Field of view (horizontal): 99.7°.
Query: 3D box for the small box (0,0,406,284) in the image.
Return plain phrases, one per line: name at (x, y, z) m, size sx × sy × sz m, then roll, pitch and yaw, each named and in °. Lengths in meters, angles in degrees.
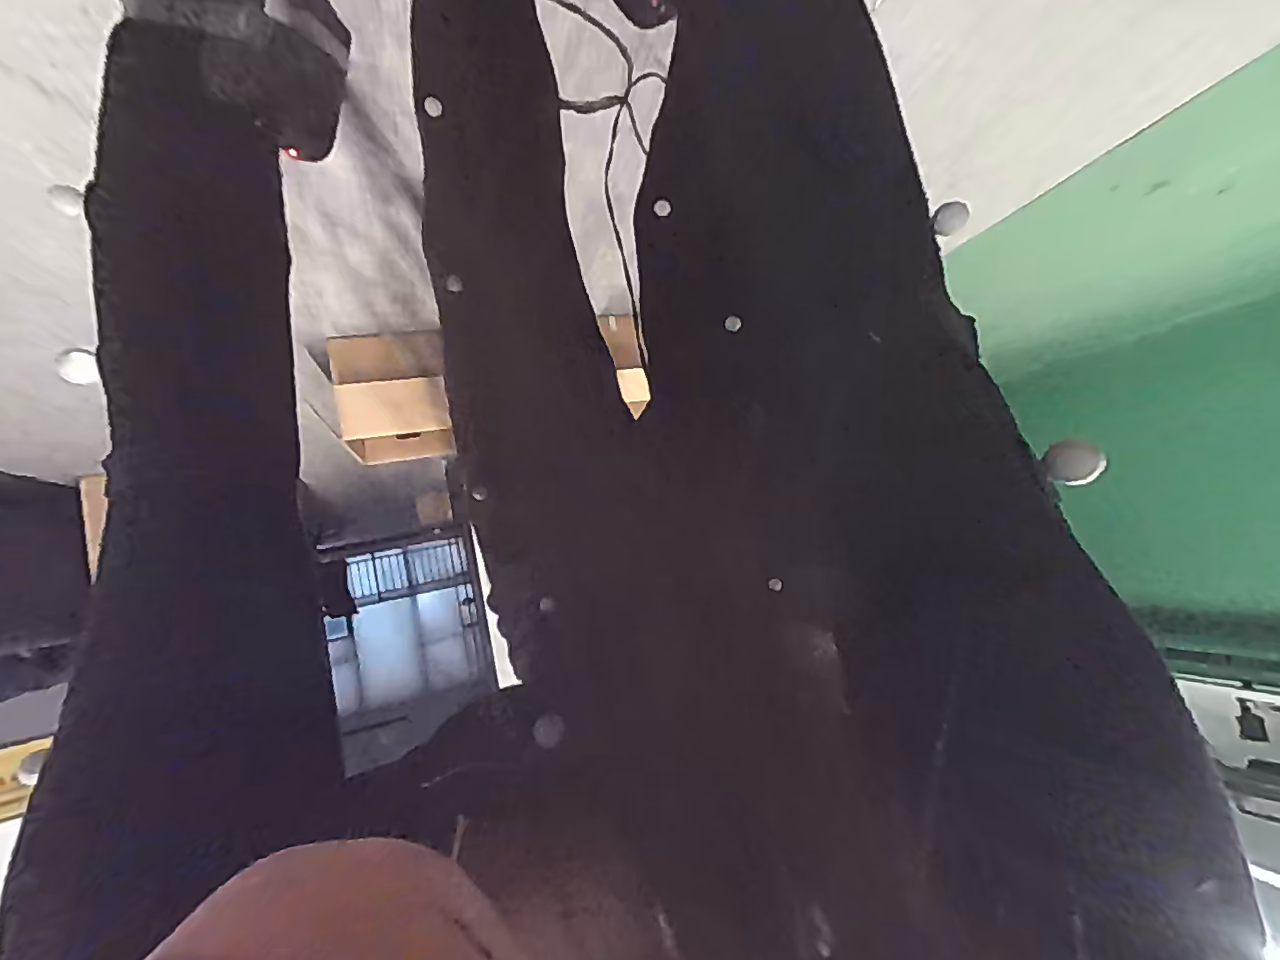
small box at (-0.234, -0.221, 0.253) m, size 0.176 × 0.179 × 0.168 m, roll -16°, pitch 176°, yaw -12°
